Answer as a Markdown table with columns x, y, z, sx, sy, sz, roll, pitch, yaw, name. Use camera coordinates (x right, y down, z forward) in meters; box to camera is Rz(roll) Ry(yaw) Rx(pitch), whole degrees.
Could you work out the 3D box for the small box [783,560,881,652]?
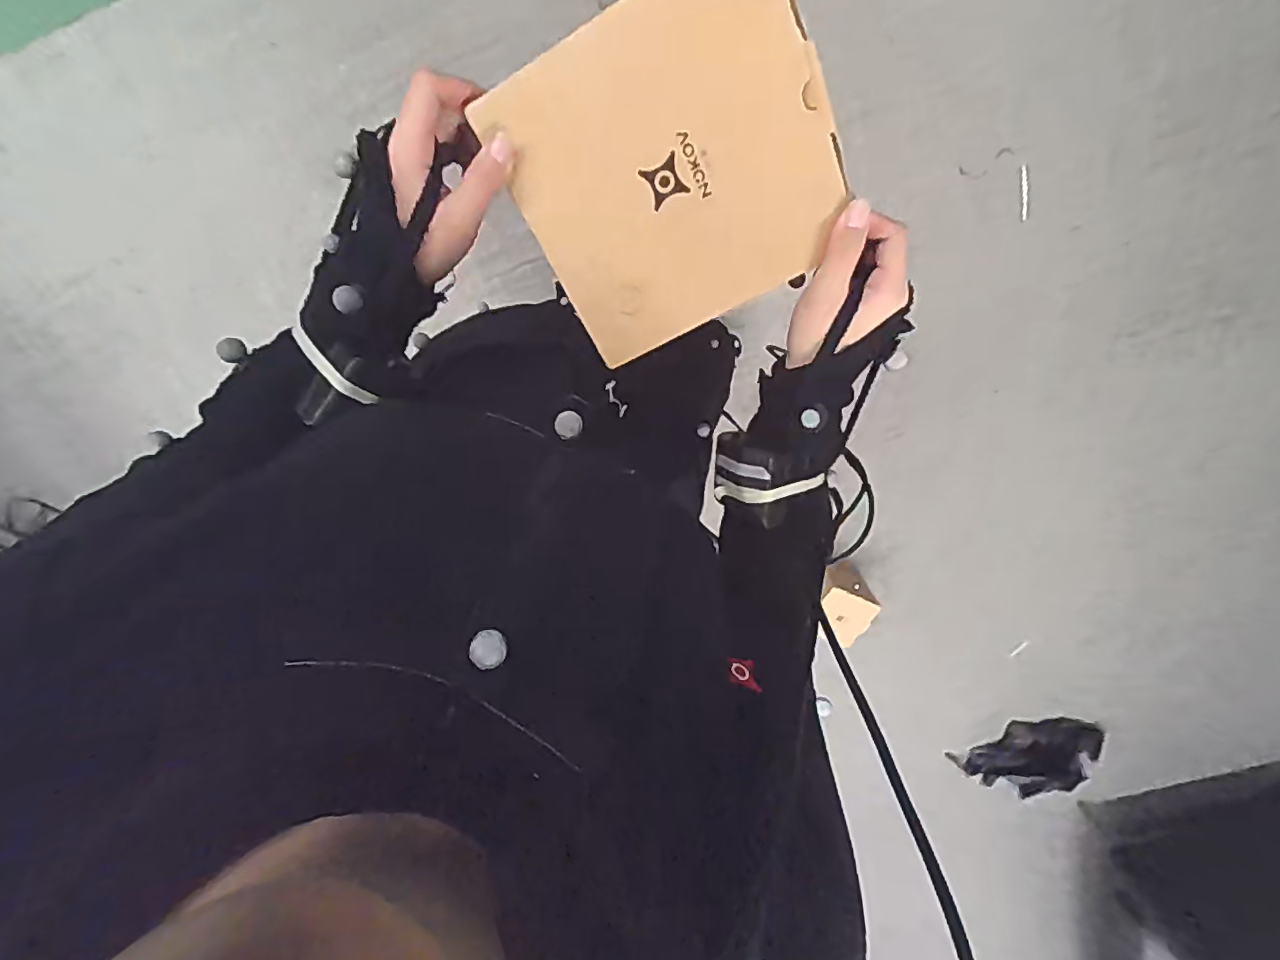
| x | y | z | sx | sy | sz | roll | pitch | yaw | name |
| --- | --- | --- | --- | --- | --- | --- | --- | --- | --- |
| 0.546 | 0.359 | 1.563 | 0.179 | 0.176 | 0.168 | 25 | 112 | -14 | small box |
